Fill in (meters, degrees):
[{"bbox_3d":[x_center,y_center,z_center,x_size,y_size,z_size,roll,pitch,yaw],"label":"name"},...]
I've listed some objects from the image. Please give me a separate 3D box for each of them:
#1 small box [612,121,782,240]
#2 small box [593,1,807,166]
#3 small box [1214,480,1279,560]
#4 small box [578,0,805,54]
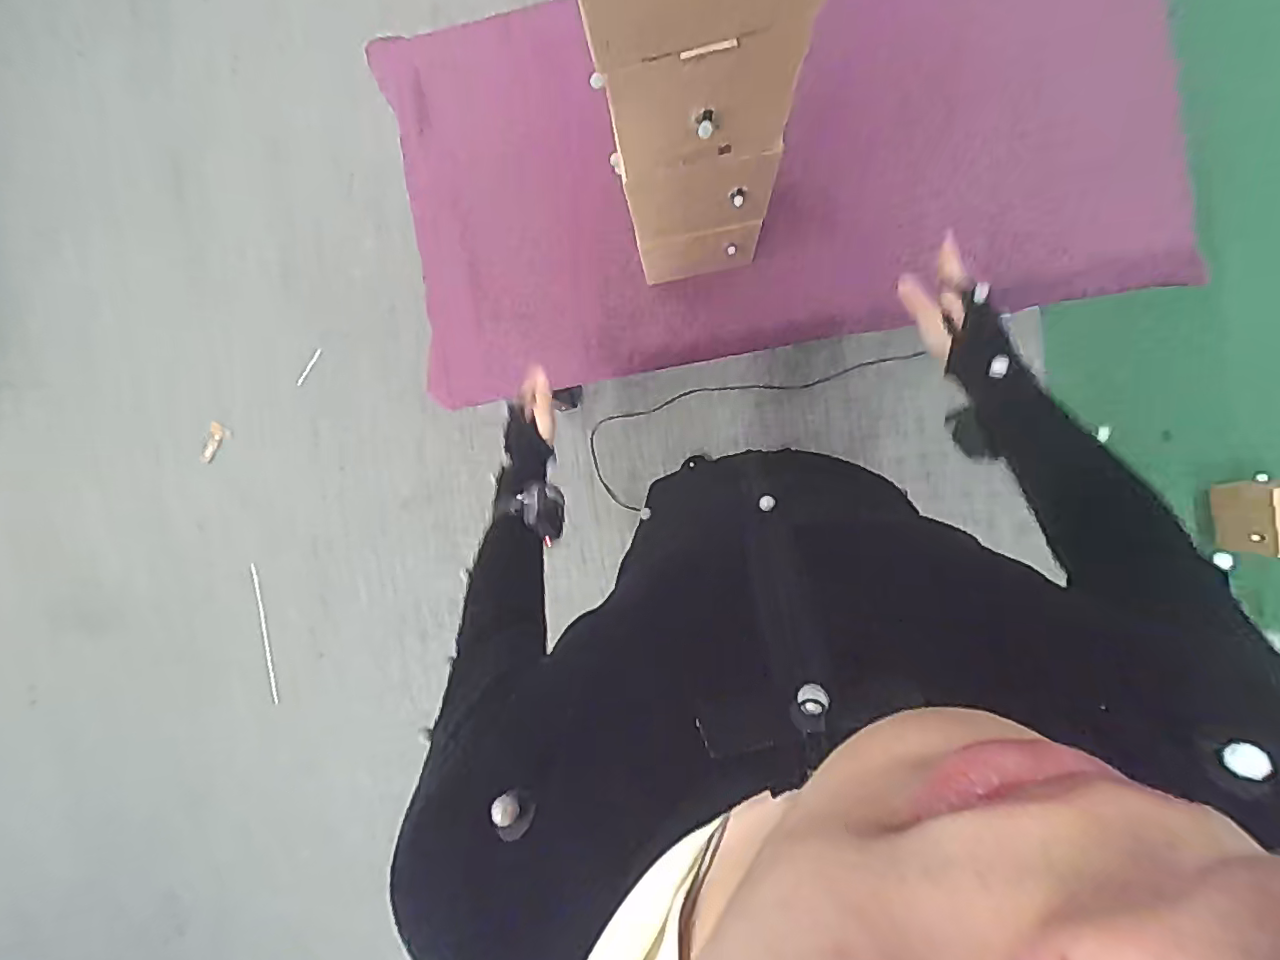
[{"bbox_3d":[0.061,-0.416,0.654,0.179,0.176,0.168,-9,90,7],"label":"small box"},{"bbox_3d":[0.042,-0.418,0.492,0.168,0.176,0.179,-10,91,6],"label":"small box"},{"bbox_3d":[1.641,0.098,1.383,0.168,0.176,0.179,-8,91,6],"label":"small box"},{"bbox_3d":[0.027,-0.411,0.328,0.179,0.176,0.168,-10,90,5],"label":"small box"}]
